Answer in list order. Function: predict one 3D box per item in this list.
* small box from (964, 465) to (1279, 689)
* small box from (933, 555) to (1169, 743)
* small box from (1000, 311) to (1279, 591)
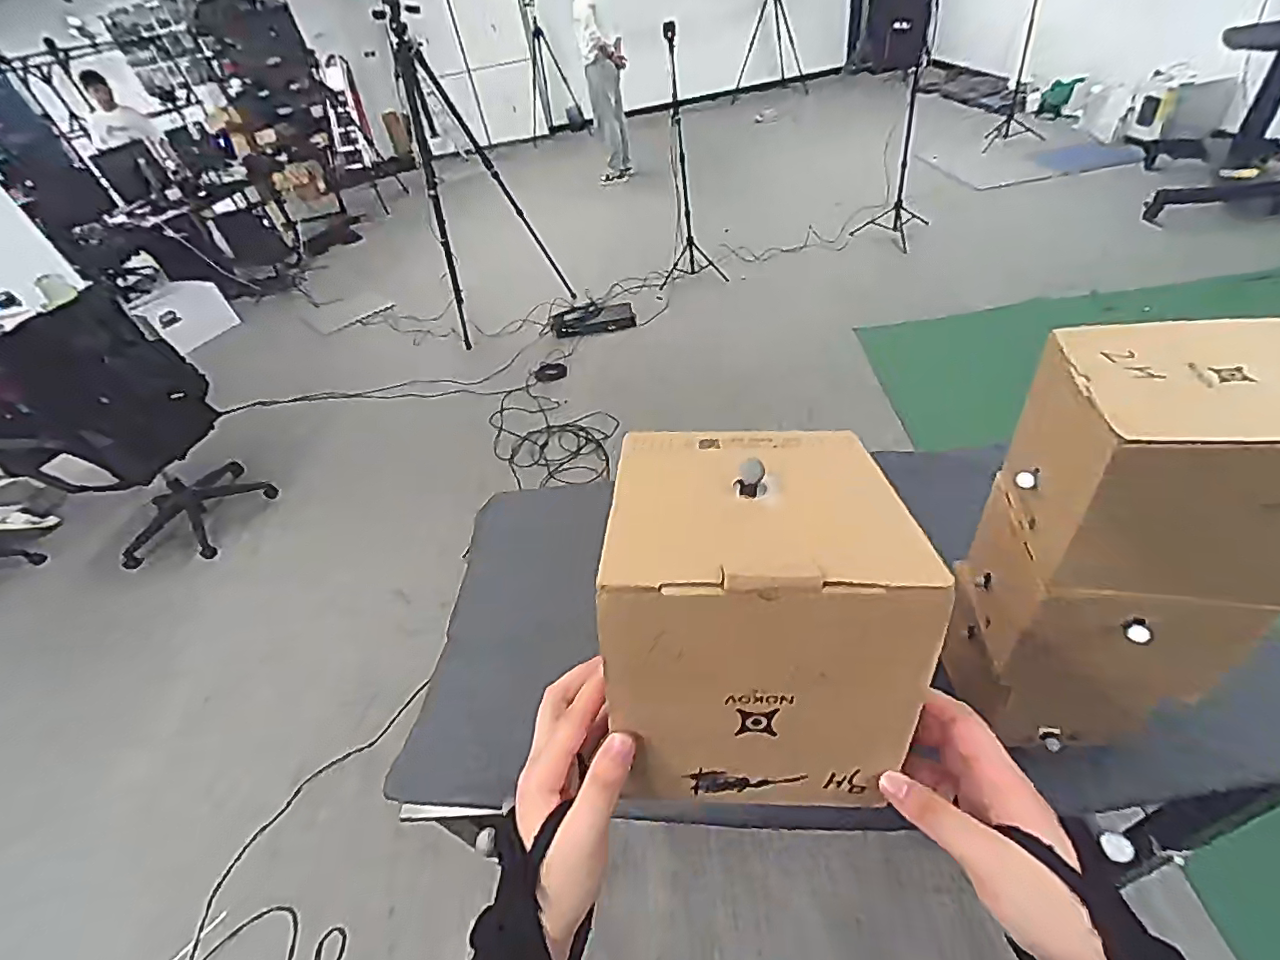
[{"bbox_3d":[0.467,0.099,0.565,0.179,0.176,0.168,0,43,16],"label":"small box"},{"bbox_3d":[0.496,0.208,0.683,0.168,0.176,0.179,-7,42,8],"label":"small box"},{"bbox_3d":[0.441,-0.023,0.457,0.179,0.176,0.168,1,43,17],"label":"small box"}]
